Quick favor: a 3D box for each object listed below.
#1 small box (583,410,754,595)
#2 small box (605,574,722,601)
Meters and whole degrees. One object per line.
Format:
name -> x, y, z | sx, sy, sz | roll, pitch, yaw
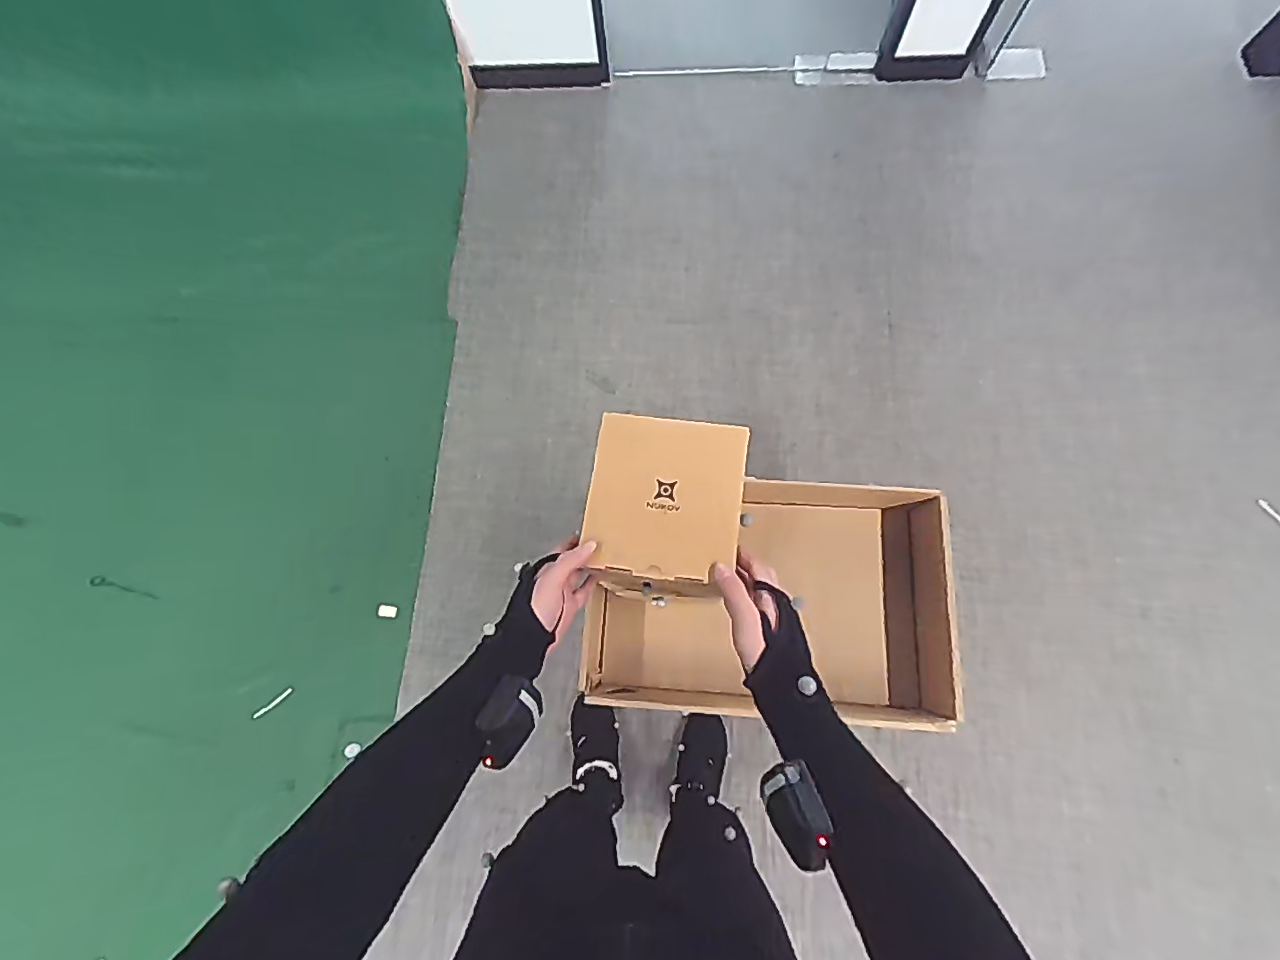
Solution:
small box -> 0.037, 0.036, 0.656 | 0.168, 0.176, 0.179 | 7, 75, 6
small box -> 0.047, 0.088, 0.838 | 0.168, 0.176, 0.179 | 6, 76, 6
